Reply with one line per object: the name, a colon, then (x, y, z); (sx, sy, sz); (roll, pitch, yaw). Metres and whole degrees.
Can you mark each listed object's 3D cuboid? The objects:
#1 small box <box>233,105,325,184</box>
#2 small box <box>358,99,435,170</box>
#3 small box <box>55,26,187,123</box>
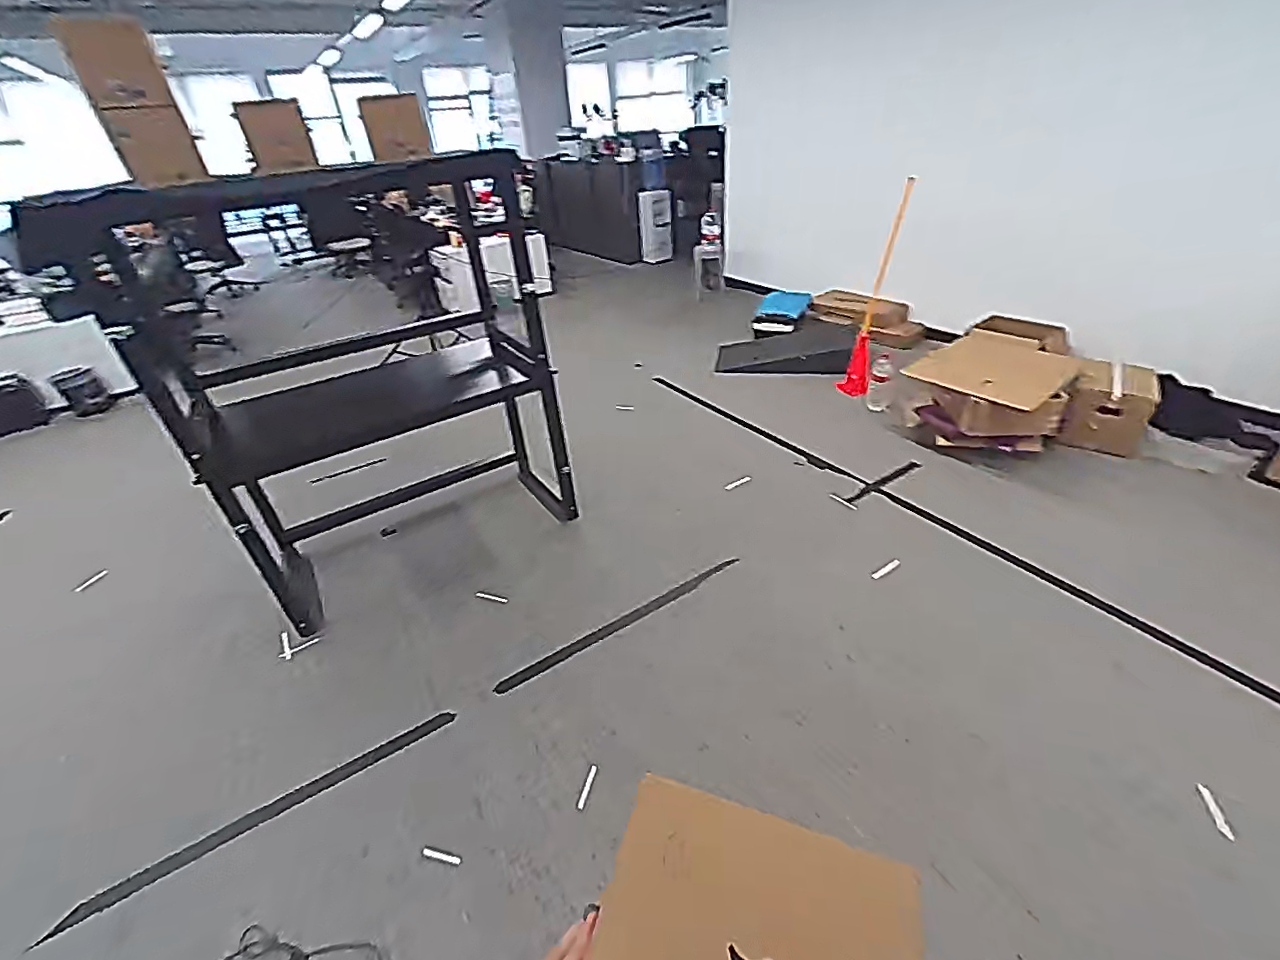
small box: (-1.002, -0.931, 1.506); (0.168, 0.176, 0.179); (-22, 35, -25)
small box: (-0.737, -1.040, 1.635); (0.168, 0.176, 0.179); (-20, 36, -20)
small box: (-1.238, -0.972, 1.306); (0.168, 0.176, 0.179); (-24, 37, -25)
